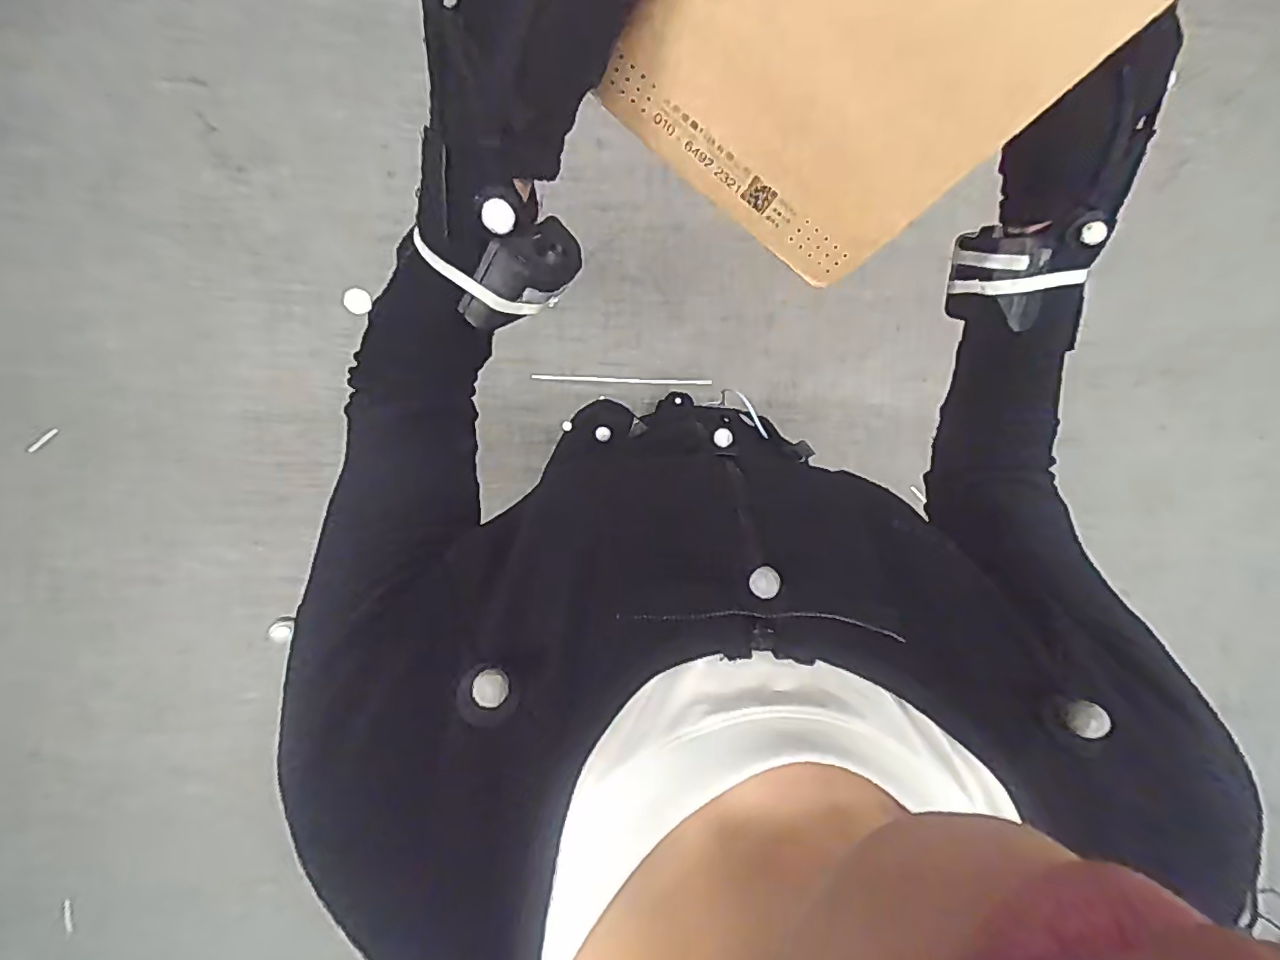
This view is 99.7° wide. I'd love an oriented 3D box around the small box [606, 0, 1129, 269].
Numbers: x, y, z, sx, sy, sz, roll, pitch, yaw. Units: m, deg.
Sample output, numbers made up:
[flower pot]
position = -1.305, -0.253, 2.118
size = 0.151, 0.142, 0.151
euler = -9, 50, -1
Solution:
[small box]
position = 0.106, -0.244, 0.251
size = 0.168, 0.176, 0.179
euler = 37, 66, -8
